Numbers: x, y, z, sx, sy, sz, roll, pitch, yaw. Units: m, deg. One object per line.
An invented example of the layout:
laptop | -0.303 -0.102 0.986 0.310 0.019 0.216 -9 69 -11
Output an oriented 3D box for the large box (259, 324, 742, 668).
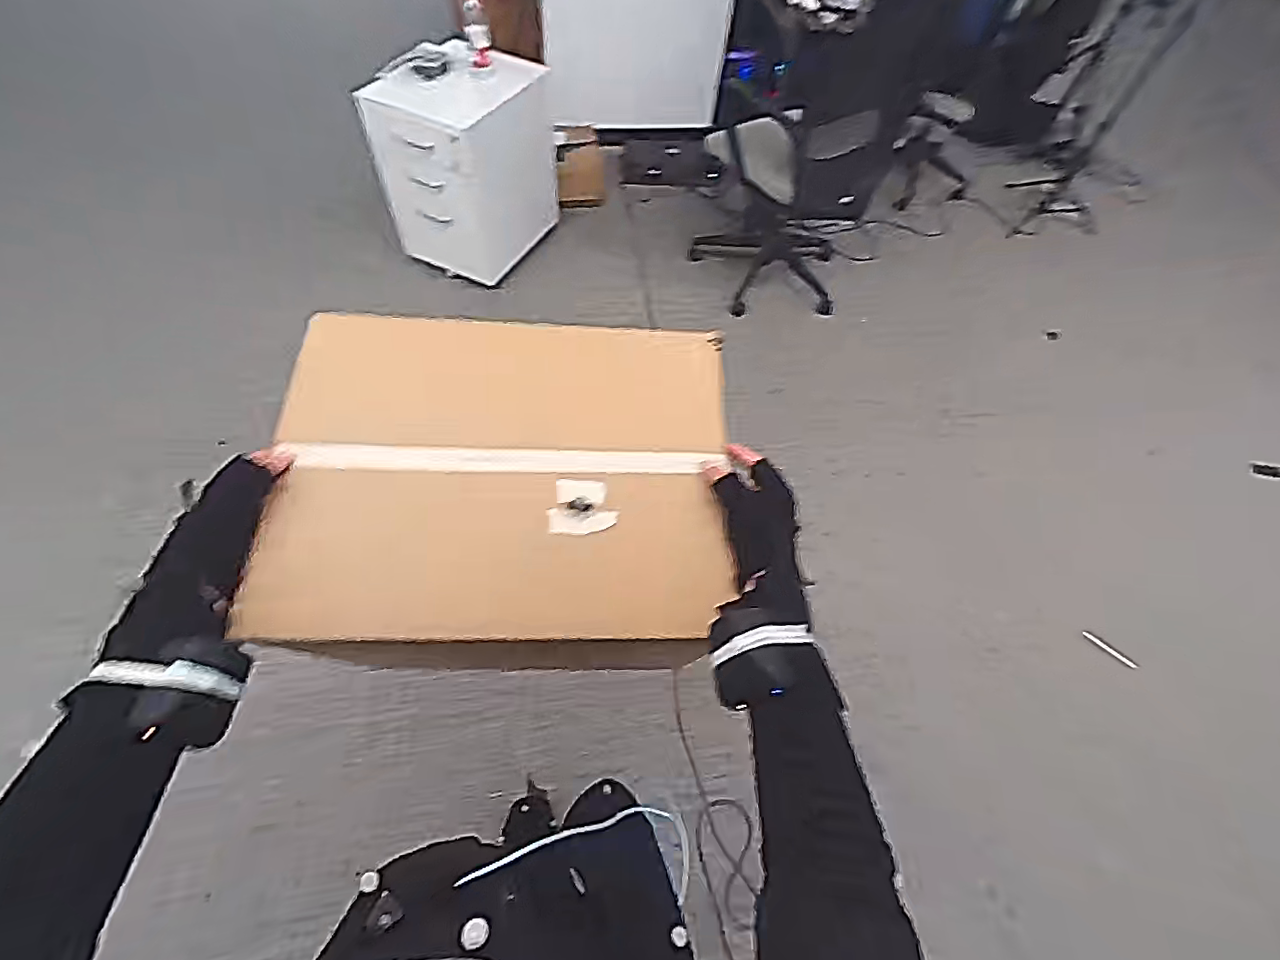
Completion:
large box | -0.128 0.046 0.642 0.408 0.320 0.320 2 67 -6
